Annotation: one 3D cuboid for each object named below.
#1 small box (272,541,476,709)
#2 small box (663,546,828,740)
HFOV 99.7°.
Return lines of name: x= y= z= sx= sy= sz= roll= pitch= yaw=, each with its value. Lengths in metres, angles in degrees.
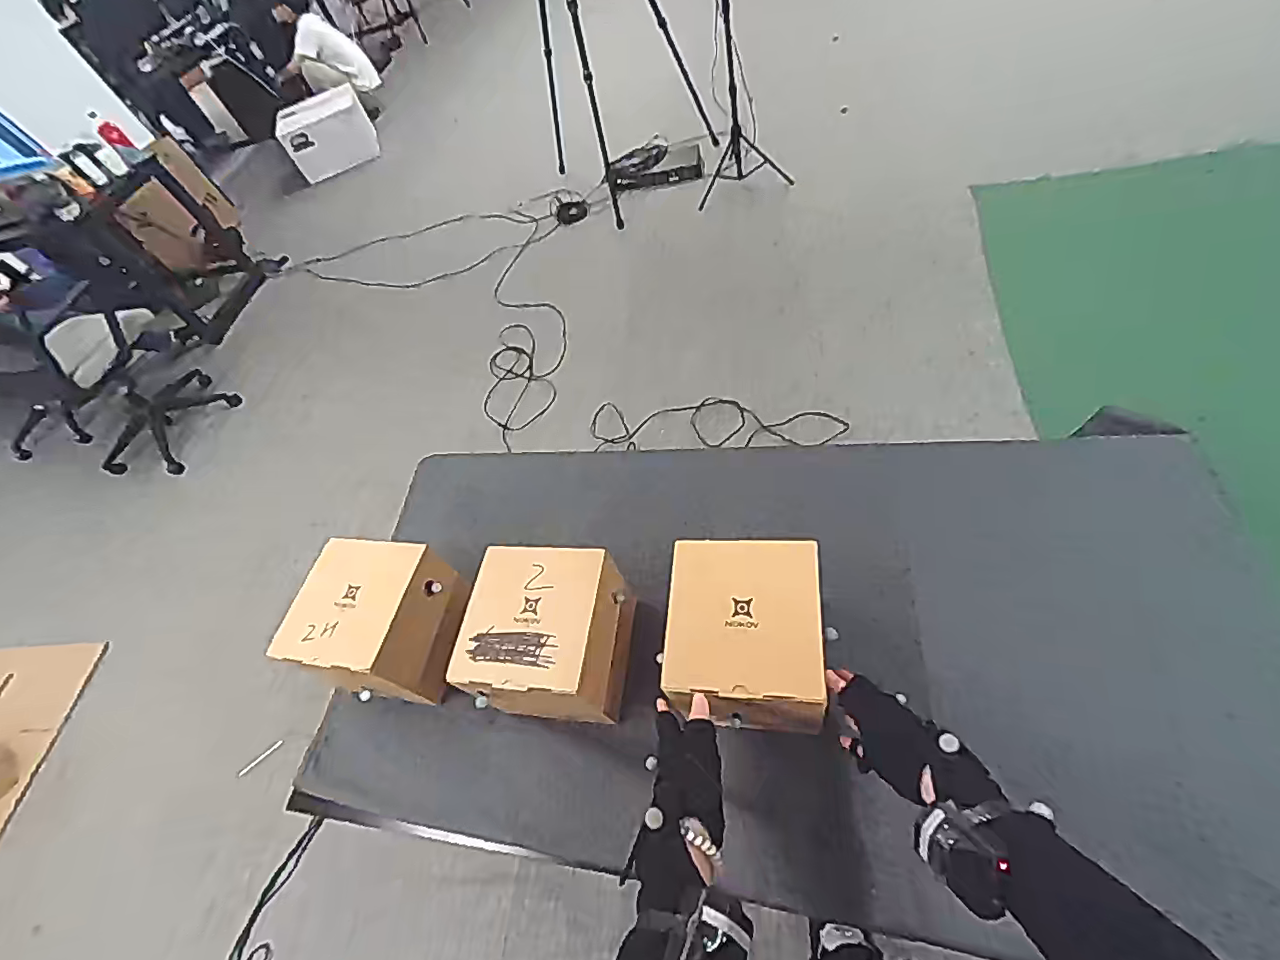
small box: x=-0.361 y=0.208 z=0.776 sx=0.168 sy=0.176 sz=0.179 roll=2 pitch=55 yaw=17
small box: x=0.131 y=0.195 z=0.648 sx=0.168 sy=0.176 sz=0.179 roll=-2 pitch=56 yaw=15
